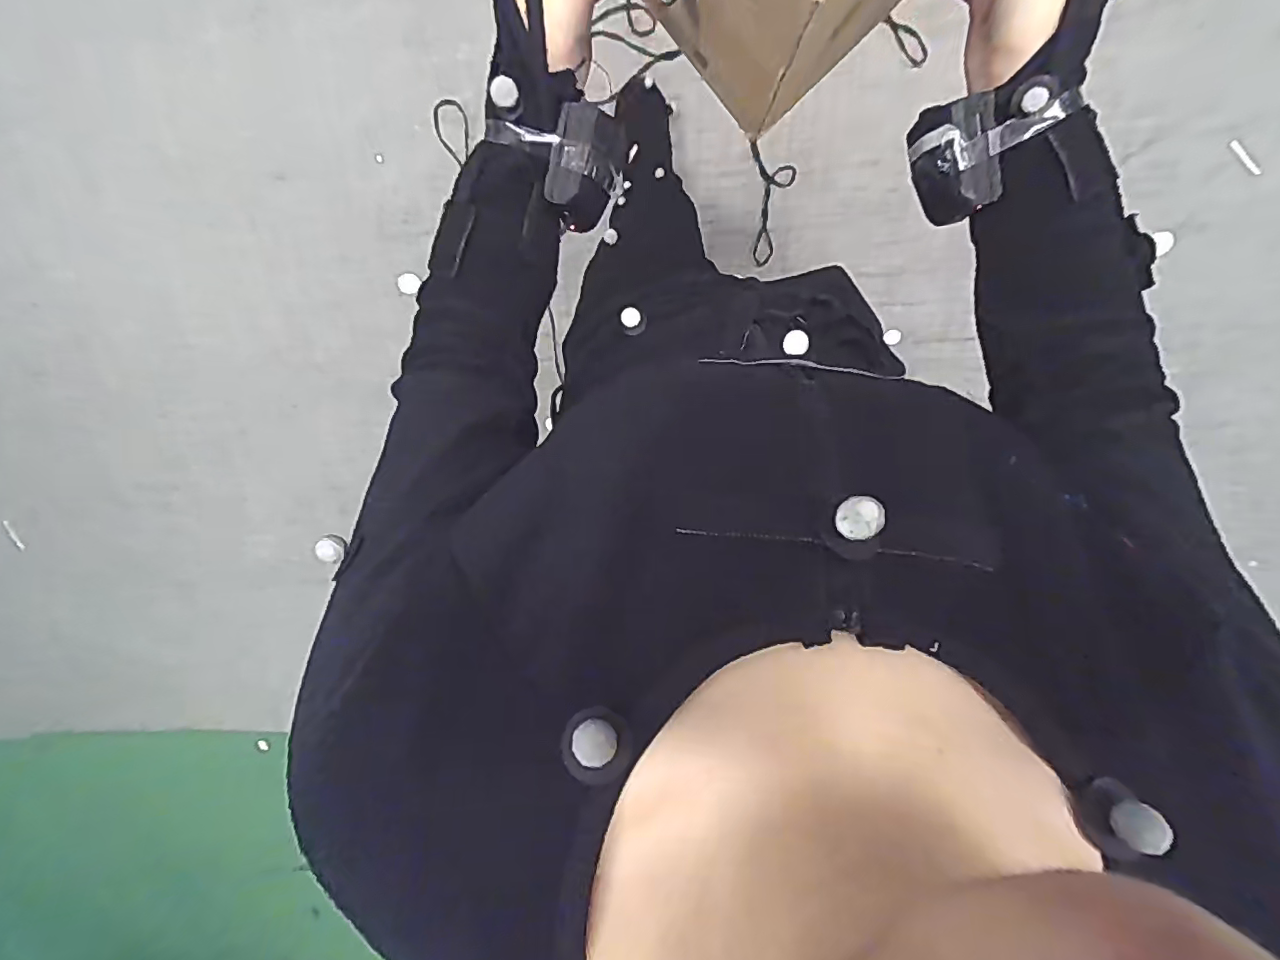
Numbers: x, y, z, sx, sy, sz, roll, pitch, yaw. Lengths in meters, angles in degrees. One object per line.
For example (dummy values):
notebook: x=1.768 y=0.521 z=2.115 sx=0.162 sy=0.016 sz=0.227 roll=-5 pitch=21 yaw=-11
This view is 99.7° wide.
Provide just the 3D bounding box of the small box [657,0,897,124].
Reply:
small box: x=0.086 y=-0.338 z=0.281 sx=0.179 sy=0.176 sz=0.168 roll=-41 pitch=98 yaw=12
